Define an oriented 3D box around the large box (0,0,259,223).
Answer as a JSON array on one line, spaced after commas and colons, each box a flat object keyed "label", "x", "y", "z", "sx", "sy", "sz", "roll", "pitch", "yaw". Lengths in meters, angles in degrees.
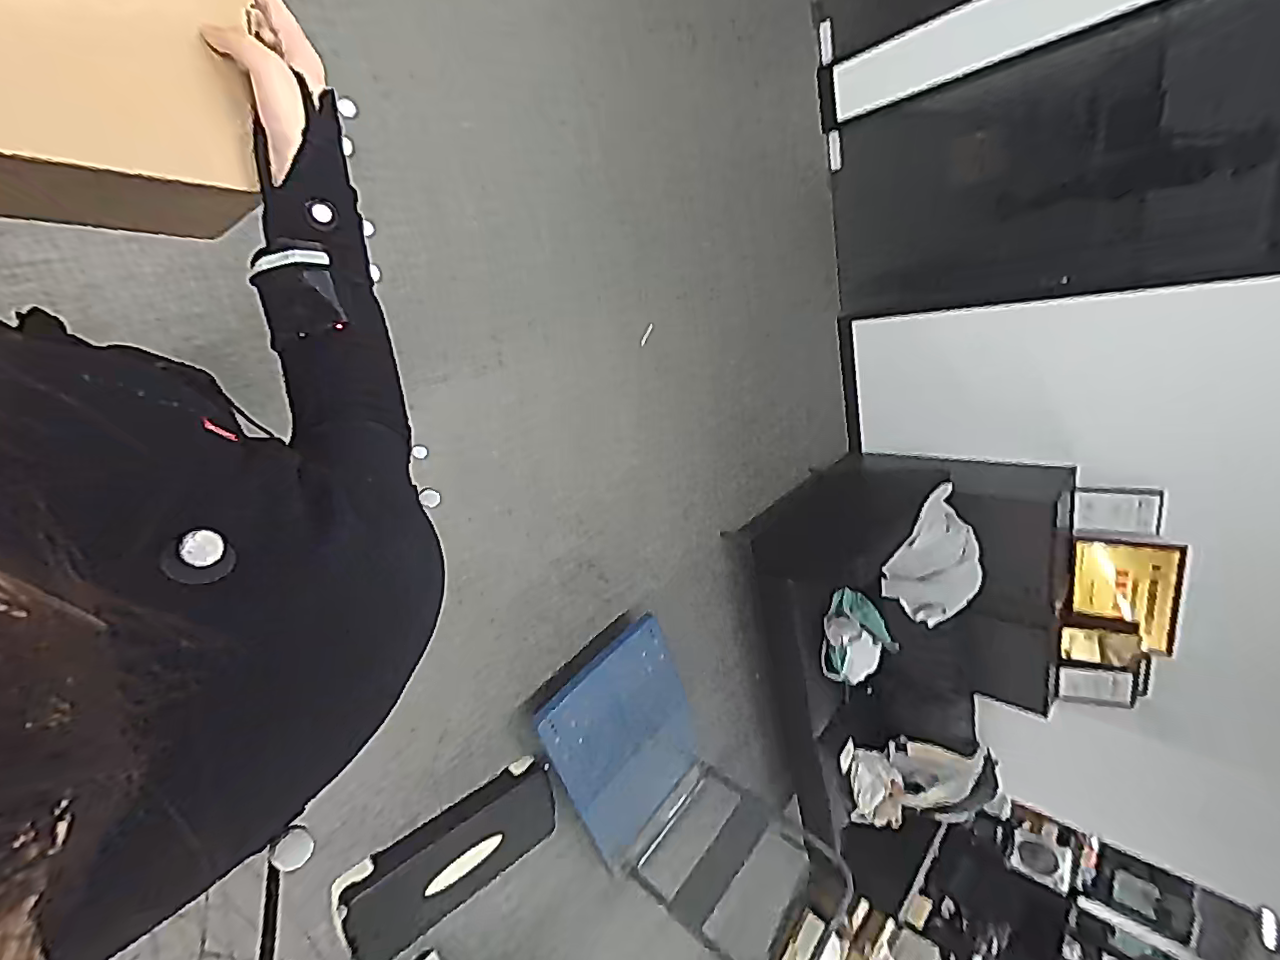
[{"label": "large box", "x": -0.544, "y": -0.372, "z": 0.362, "sx": 0.408, "sy": 0.320, "sz": 0.320, "roll": -14, "pitch": 111, "yaw": -40}]
